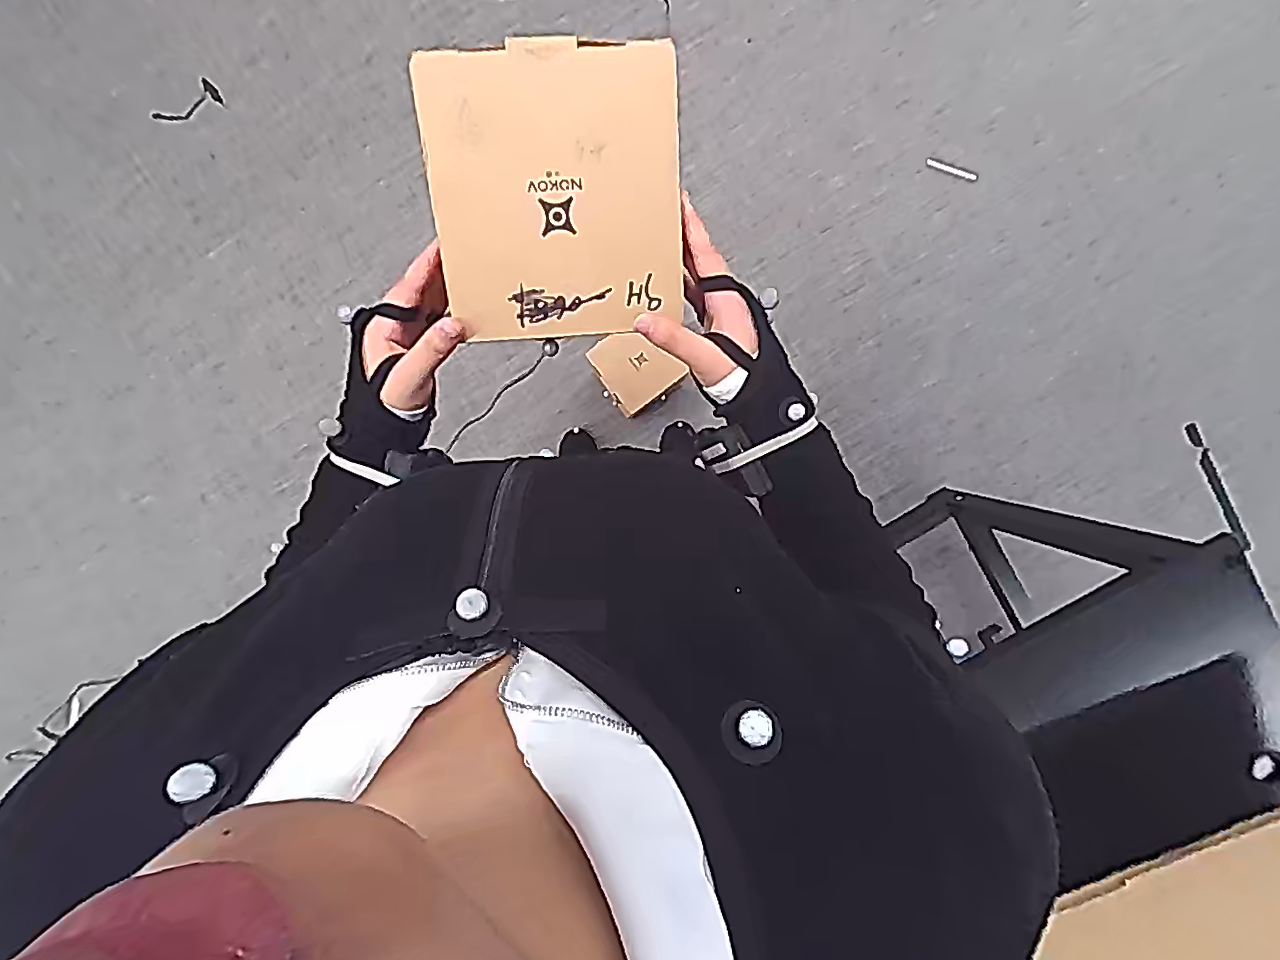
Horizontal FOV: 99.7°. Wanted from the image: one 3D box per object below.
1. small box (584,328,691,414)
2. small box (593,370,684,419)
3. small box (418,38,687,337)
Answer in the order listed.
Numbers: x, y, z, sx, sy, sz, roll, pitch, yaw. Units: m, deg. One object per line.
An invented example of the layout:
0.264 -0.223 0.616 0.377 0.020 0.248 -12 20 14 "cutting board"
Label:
-0.004 -0.261 1.226 0.179 0.176 0.168 -38 95 2 "small box"
-0.008 -0.272 1.388 0.179 0.176 0.168 -34 94 4 "small box"
-0.056 -0.211 0.433 0.168 0.176 0.179 -4 108 -2 "small box"
